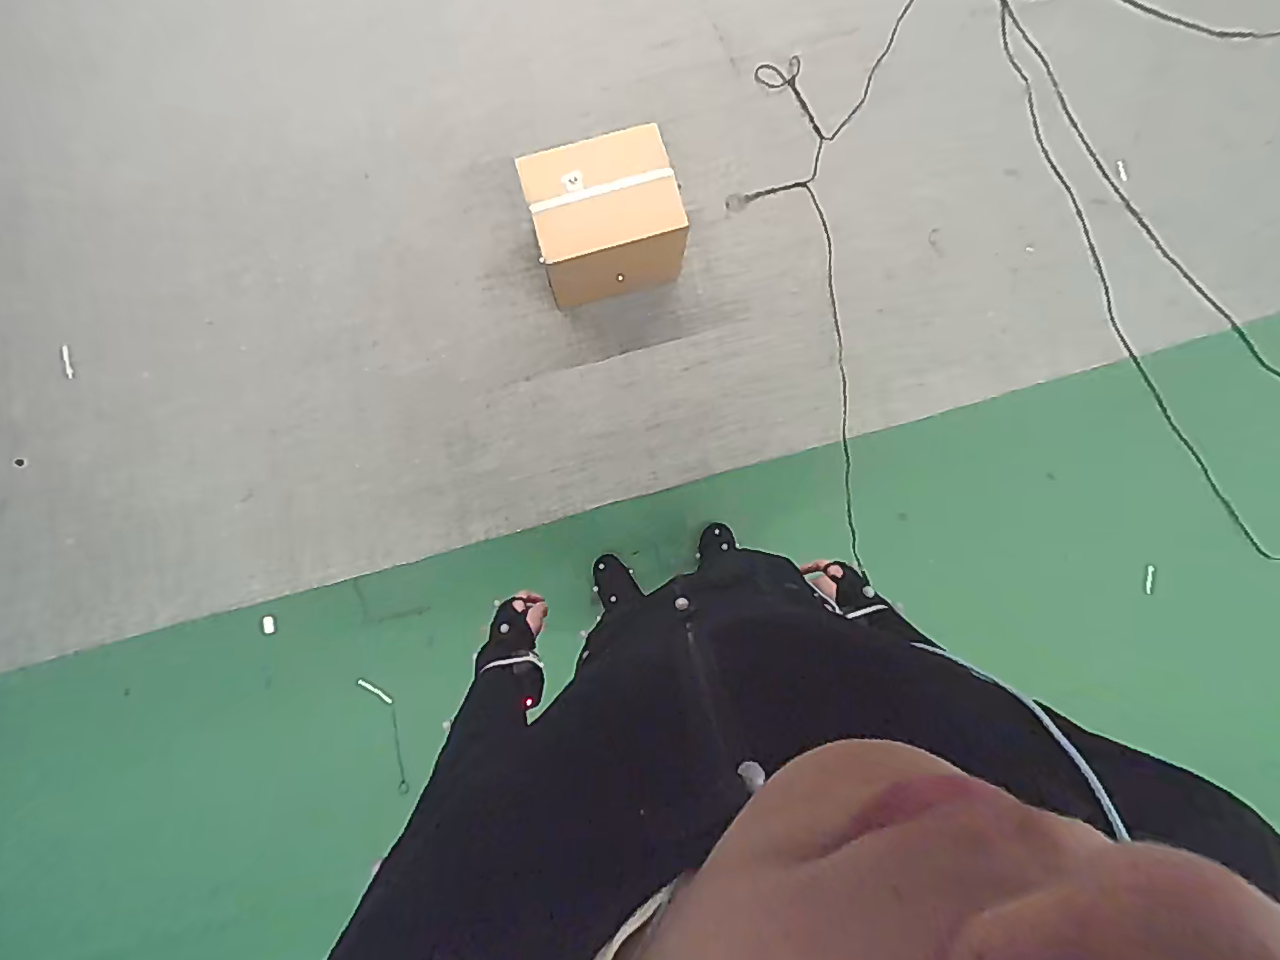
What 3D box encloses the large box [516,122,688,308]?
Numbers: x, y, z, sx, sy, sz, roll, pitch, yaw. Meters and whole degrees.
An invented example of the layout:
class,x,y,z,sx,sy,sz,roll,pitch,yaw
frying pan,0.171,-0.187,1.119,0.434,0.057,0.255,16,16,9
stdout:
class,x,y,z,sx,sy,sz,roll,pitch,yaw
large box,-0.103,-0.762,1.605,0.408,0.320,0.320,-18,85,-2
